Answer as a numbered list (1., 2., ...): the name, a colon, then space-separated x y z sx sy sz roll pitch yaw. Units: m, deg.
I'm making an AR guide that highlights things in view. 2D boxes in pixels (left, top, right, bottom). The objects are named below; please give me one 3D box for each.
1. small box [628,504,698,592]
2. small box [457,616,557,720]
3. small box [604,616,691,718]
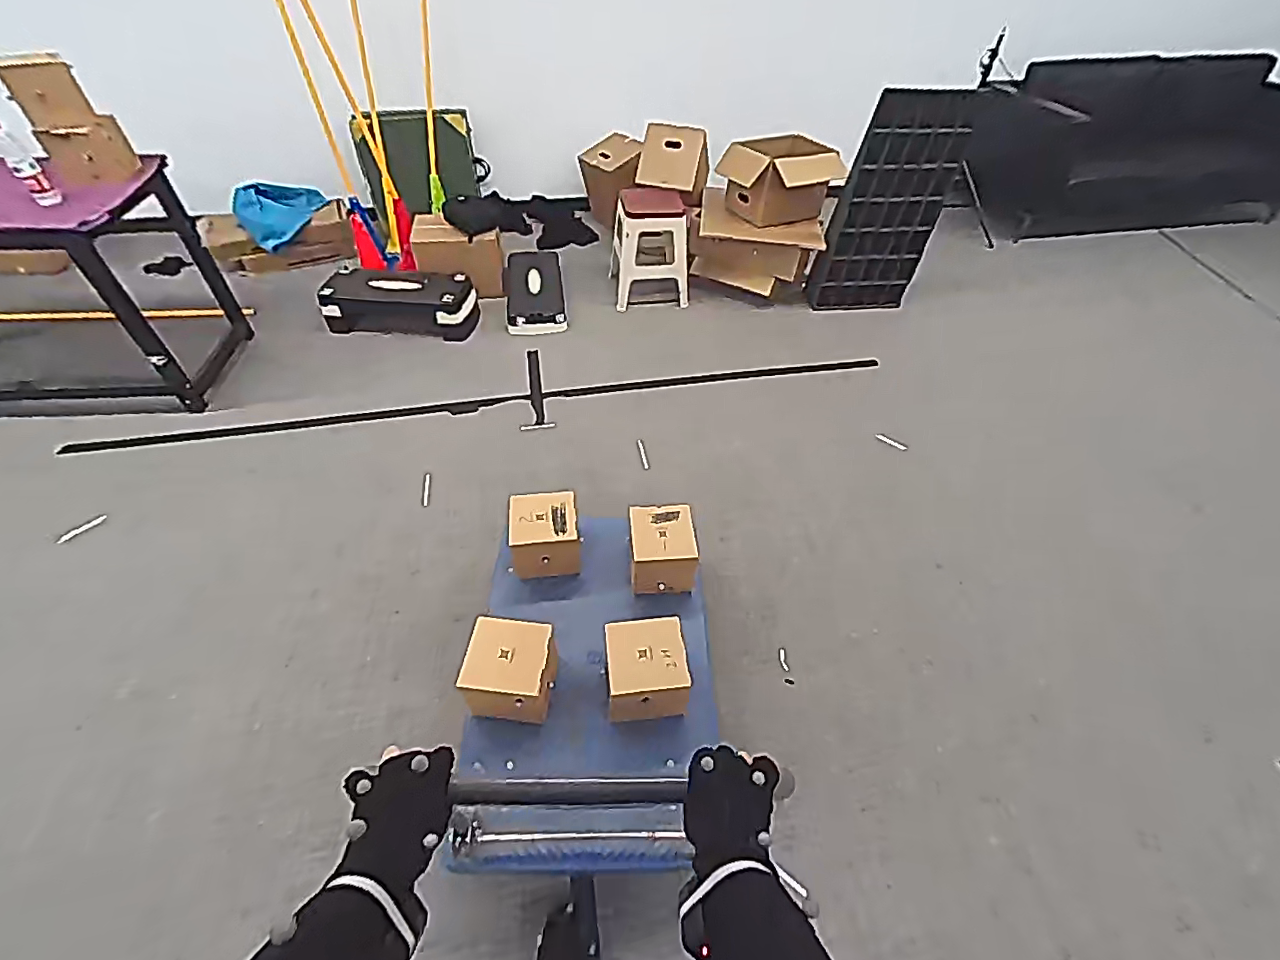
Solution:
1. small box: 0.056 0.185 1.469 0.168 0.176 0.179 -3 49 -5
2. small box: -0.292 0.431 1.232 0.179 0.176 0.168 6 48 1
3. small box: 0.012 0.433 1.244 0.179 0.176 0.168 -4 48 -6
